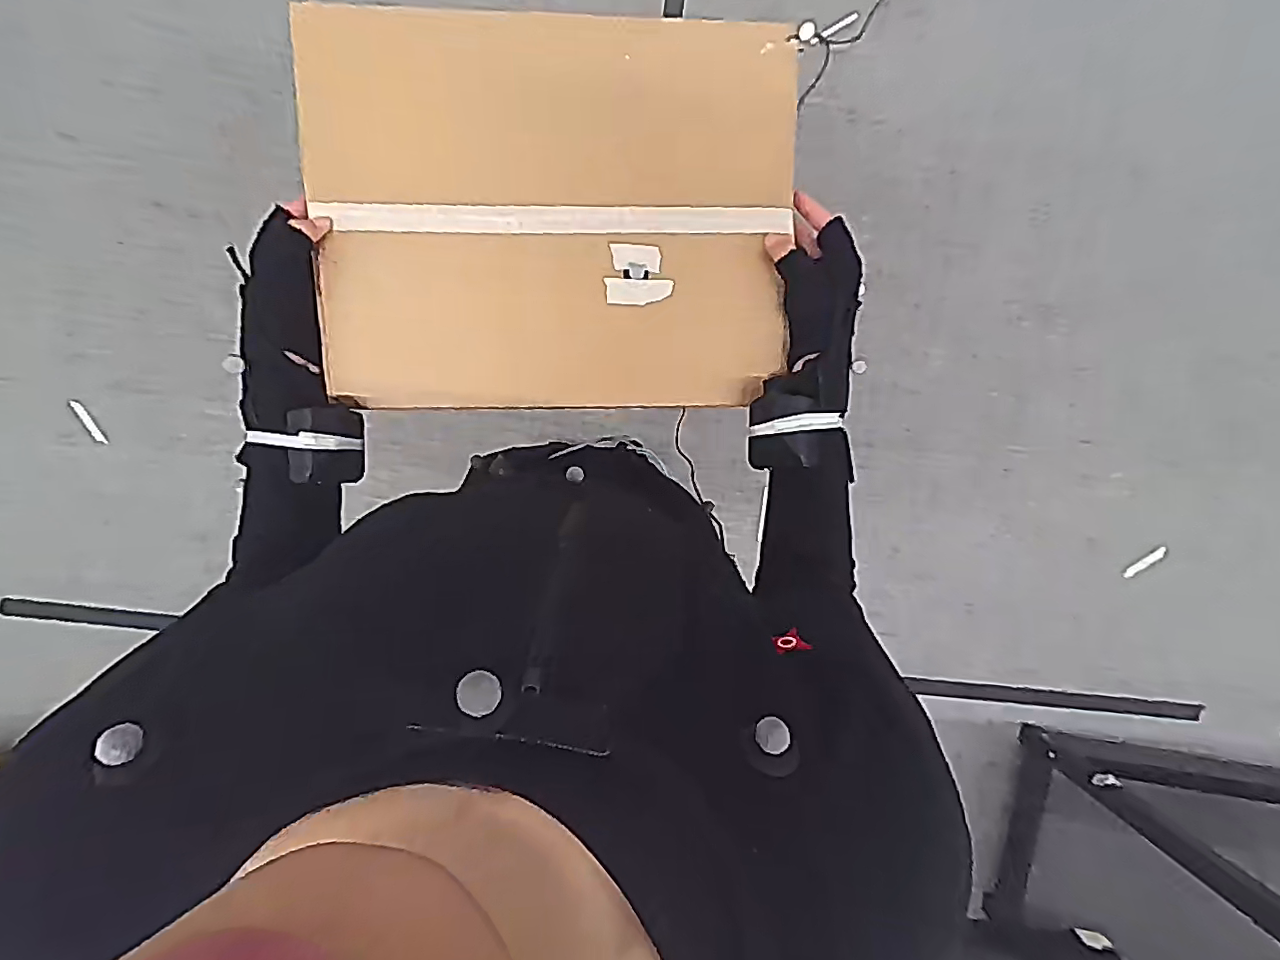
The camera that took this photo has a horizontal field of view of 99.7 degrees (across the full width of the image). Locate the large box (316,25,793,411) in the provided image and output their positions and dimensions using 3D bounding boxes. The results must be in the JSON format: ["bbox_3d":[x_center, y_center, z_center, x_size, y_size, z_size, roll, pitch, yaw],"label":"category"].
[{"bbox_3d":[-0.076,-0.244,0.620,0.408,0.320,0.320,-1,100,-4],"label":"large box"}]
